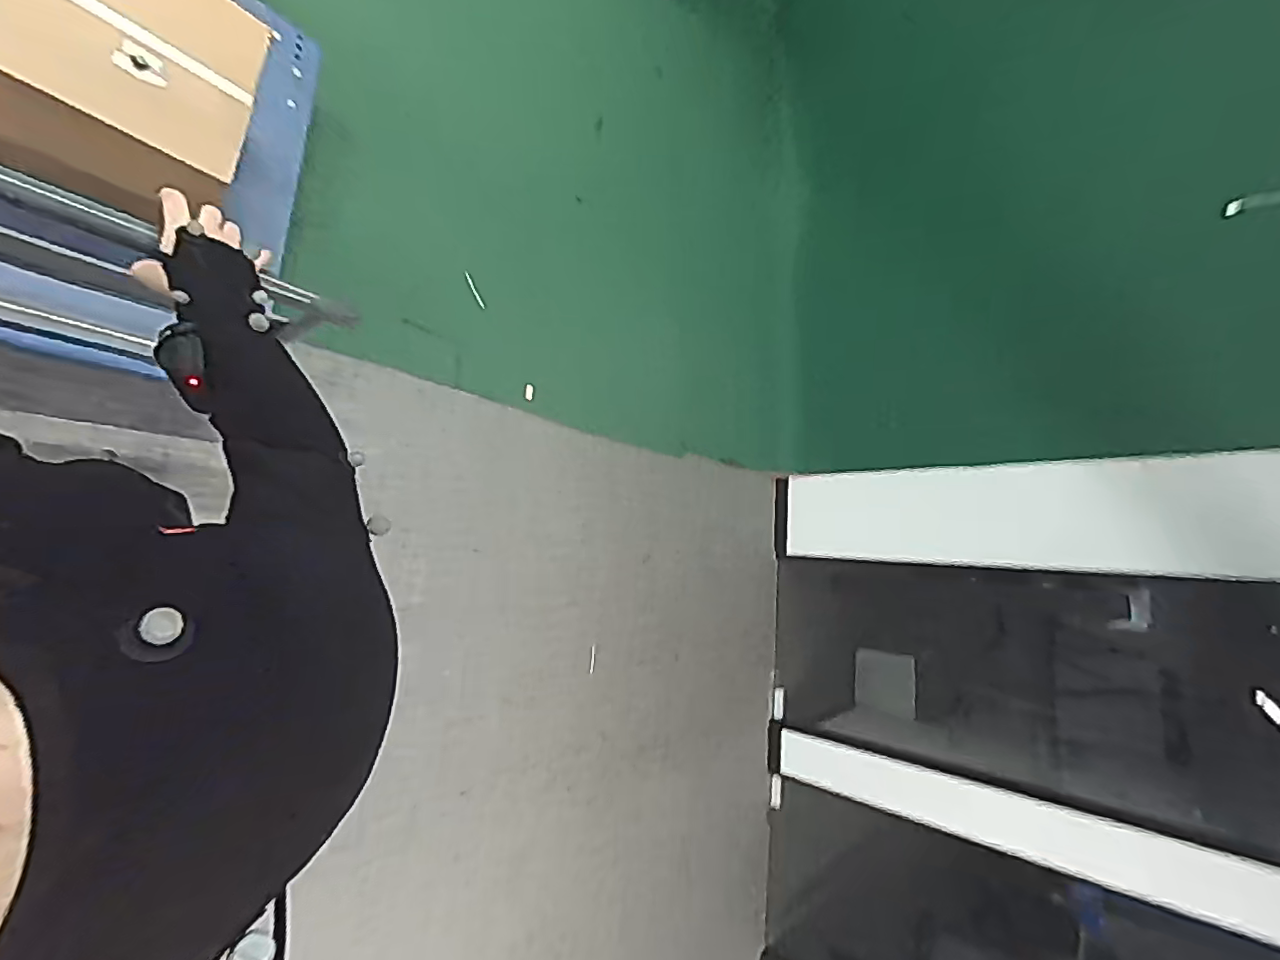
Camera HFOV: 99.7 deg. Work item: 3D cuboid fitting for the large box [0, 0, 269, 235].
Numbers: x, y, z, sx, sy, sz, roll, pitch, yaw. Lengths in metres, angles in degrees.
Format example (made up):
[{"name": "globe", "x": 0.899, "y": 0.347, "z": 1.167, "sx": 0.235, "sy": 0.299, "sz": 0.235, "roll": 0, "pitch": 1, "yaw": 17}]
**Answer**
[{"name": "large box", "x": -0.911, "y": -0.683, "z": 0.877, "sx": 0.408, "sy": 0.320, "sz": 0.320, "roll": 18, "pitch": 74, "yaw": -48}]
